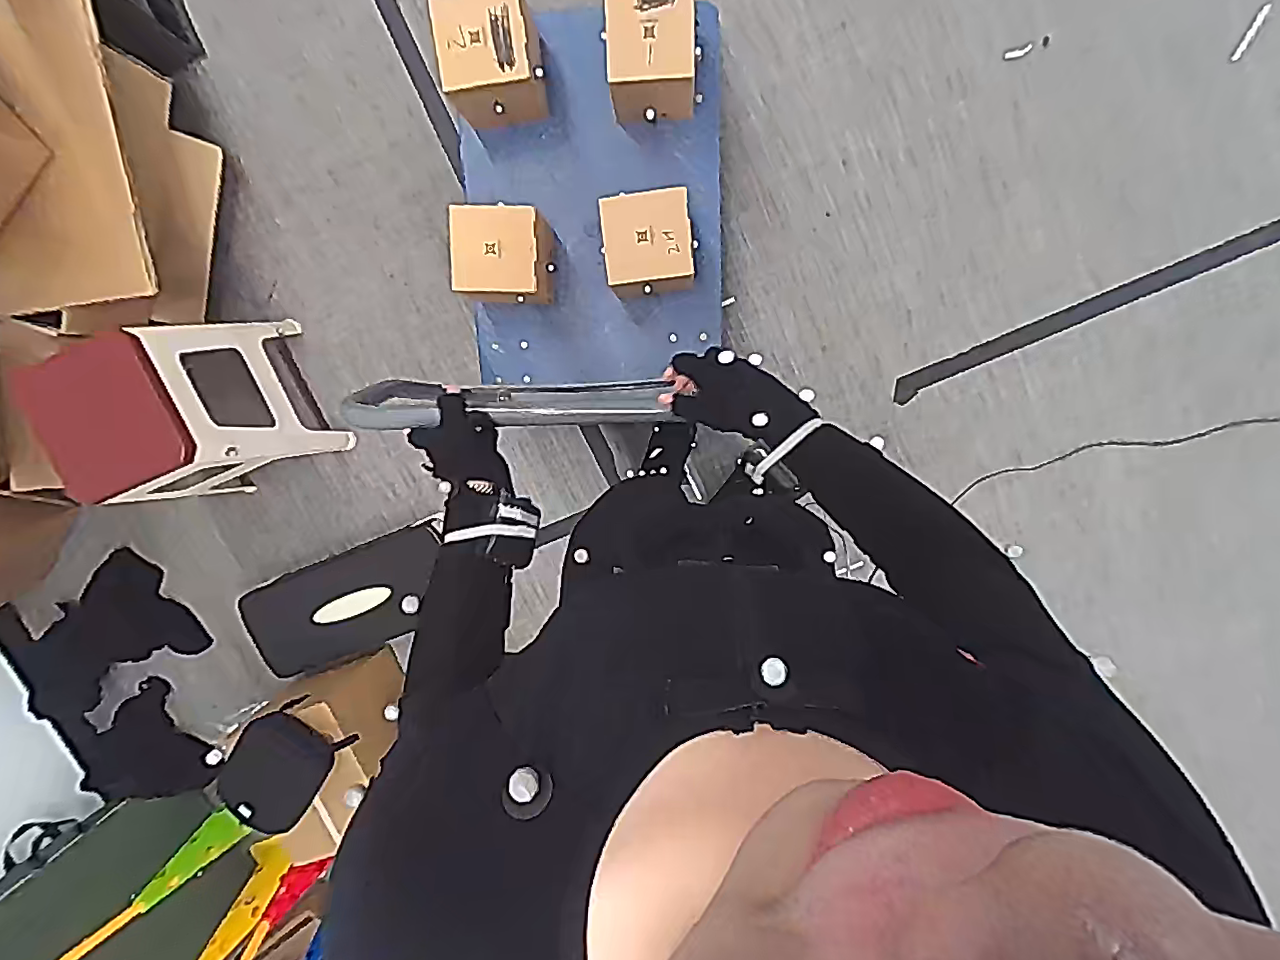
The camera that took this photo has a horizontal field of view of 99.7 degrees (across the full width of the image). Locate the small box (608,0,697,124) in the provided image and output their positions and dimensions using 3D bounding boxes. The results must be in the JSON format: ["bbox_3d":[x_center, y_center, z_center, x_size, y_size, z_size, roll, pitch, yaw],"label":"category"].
[{"bbox_3d":[0.025,-0.842,1.072,0.168,0.176,0.179,0,102,4],"label":"small box"}]

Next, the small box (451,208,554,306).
[{"bbox_3d":[-0.288,-0.472,1.162,0.179,0.176,0.168,1,100,2],"label":"small box"}]

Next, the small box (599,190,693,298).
[{"bbox_3d":[0.019,-0.486,1.139,0.179,0.176,0.168,-5,100,5],"label":"small box"}]
